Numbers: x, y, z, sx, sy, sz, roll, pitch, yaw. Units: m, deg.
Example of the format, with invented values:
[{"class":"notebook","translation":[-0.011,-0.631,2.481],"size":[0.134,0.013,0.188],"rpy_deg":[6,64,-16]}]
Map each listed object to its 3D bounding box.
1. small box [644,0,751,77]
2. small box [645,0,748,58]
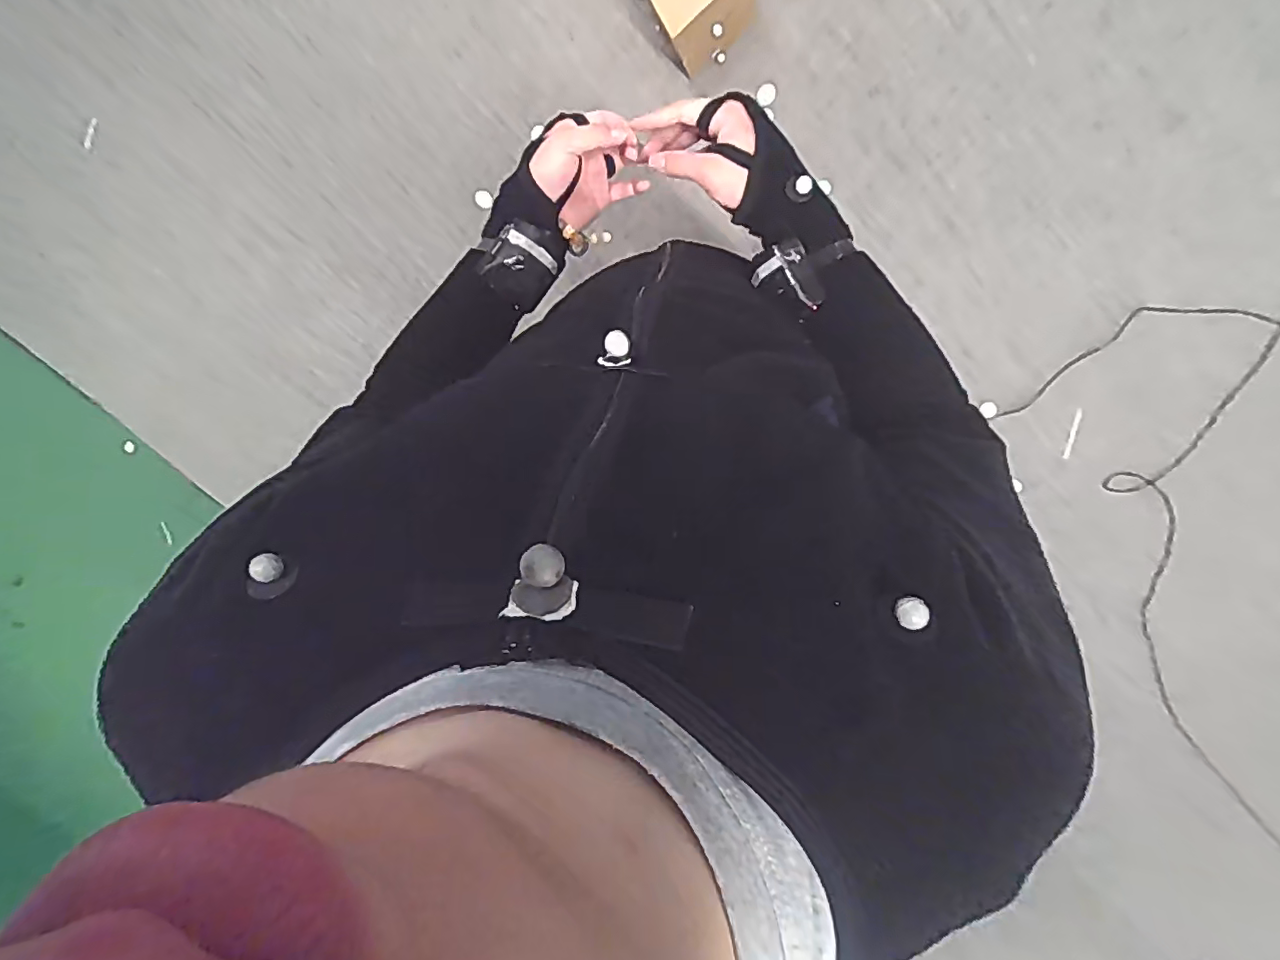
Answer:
[{"class":"small box","translation":[0.112,-0.976,1.105],"size":[0.168,0.176,0.179],"rpy_deg":[-29,108,24]},{"class":"small box","translation":[0.083,-0.904,0.960],"size":[0.168,0.176,0.179],"rpy_deg":[-28,108,23]}]
